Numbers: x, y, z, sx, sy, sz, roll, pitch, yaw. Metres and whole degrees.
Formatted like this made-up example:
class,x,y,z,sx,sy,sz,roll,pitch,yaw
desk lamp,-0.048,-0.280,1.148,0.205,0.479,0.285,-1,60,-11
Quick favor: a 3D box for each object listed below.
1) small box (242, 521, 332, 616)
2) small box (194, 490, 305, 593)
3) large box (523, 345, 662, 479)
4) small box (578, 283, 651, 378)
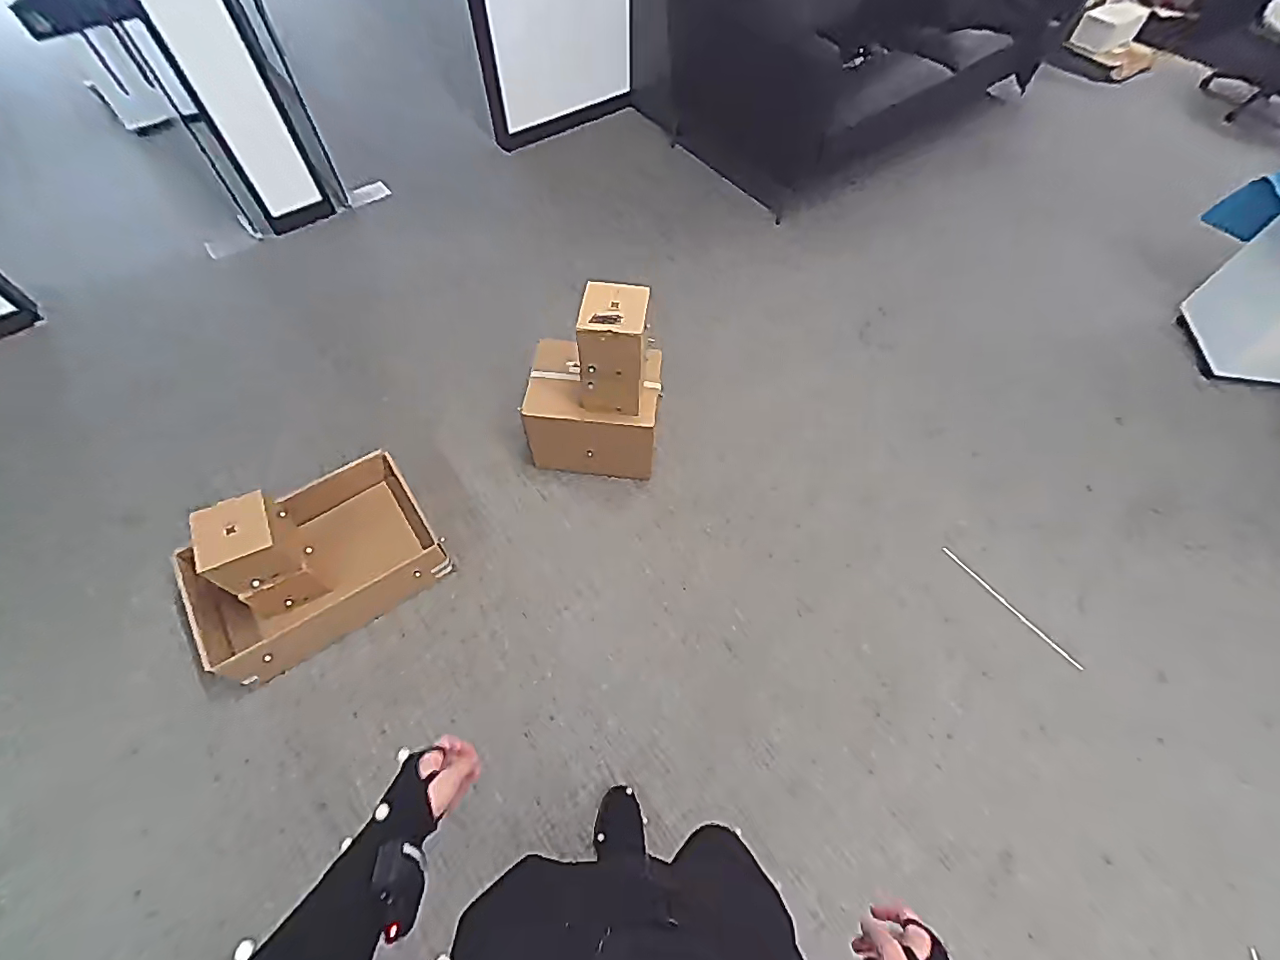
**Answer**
class,x,y,z,sx,sy,sz,roll,pitch,yaw
small box,-1.002,0.251,1.519,0.168,0.176,0.179,-26,64,-20
small box,-0.994,0.161,1.383,0.168,0.176,0.179,-23,63,-17
large box,-0.137,-0.219,1.800,0.408,0.320,0.320,5,58,3
small box,-0.062,-0.390,1.426,0.168,0.176,0.179,7,59,3
